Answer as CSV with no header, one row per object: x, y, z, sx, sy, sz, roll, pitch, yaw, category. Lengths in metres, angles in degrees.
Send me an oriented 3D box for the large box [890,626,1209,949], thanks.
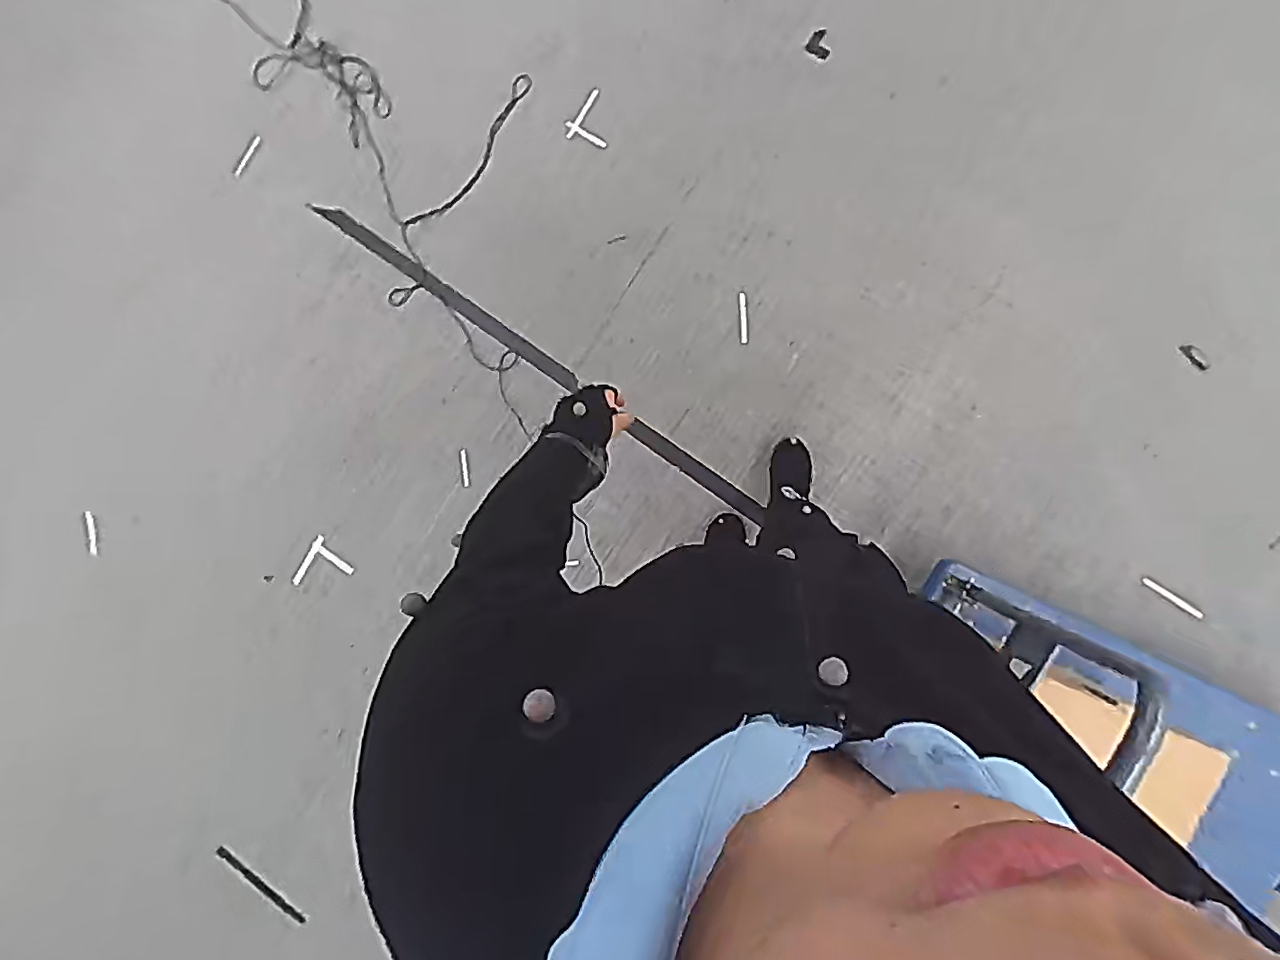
0.769,0.569,1.086,0.320,0.320,0.408,23,95,9,large box
